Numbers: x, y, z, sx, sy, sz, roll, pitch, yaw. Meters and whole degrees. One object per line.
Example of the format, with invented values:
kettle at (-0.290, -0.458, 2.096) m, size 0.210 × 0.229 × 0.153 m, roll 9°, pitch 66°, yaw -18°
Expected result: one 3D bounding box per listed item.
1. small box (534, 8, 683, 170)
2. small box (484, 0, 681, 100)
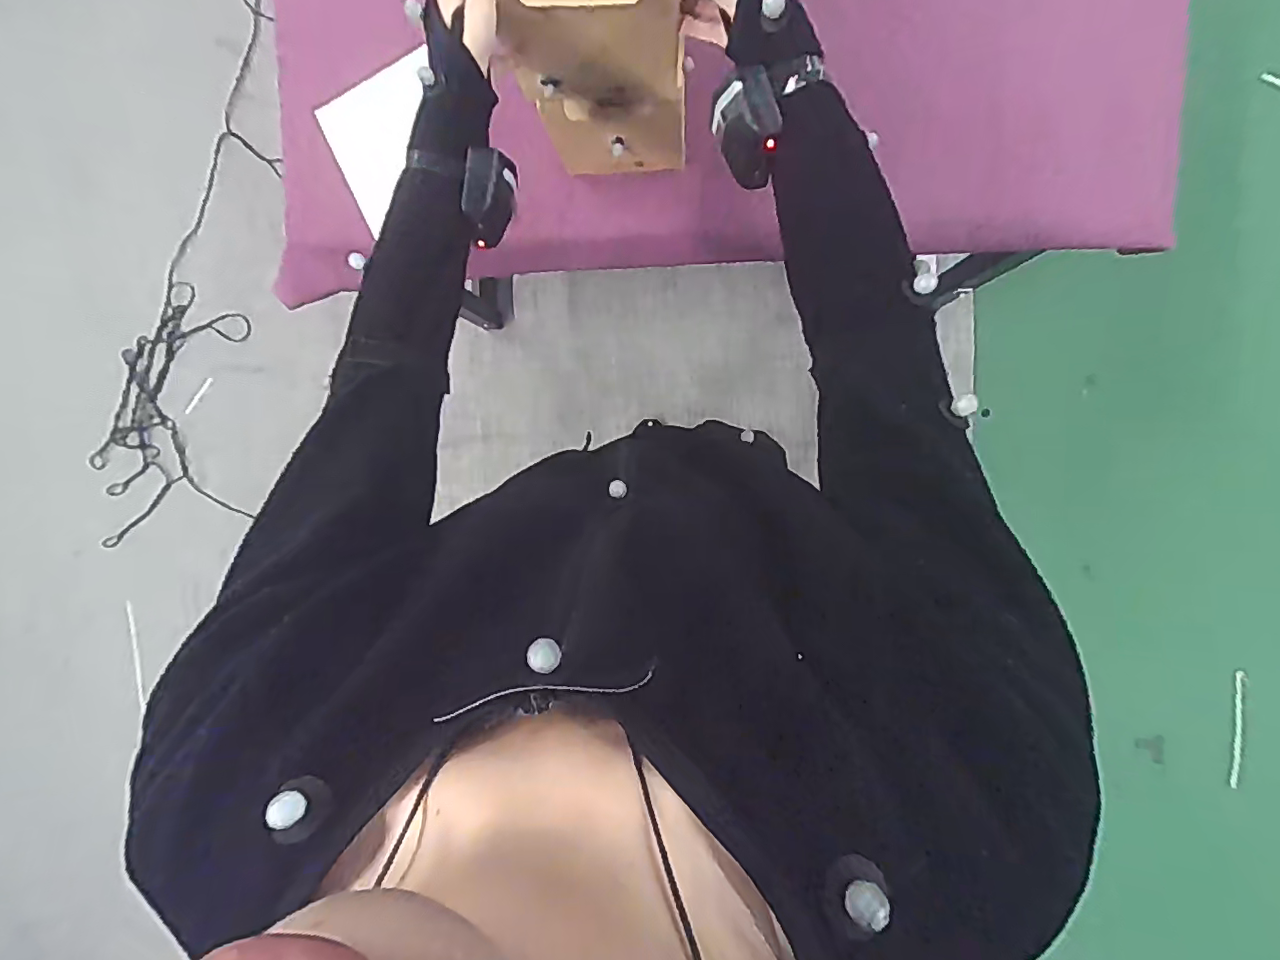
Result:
small box at (-0.031, -0.508, 0.672) m, size 0.168 × 0.176 × 0.179 m, roll 0°, pitch 95°, yaw 5°
small box at (-0.043, -0.490, 0.502) m, size 0.168 × 0.176 × 0.179 m, roll 2°, pitch 95°, yaw 2°
